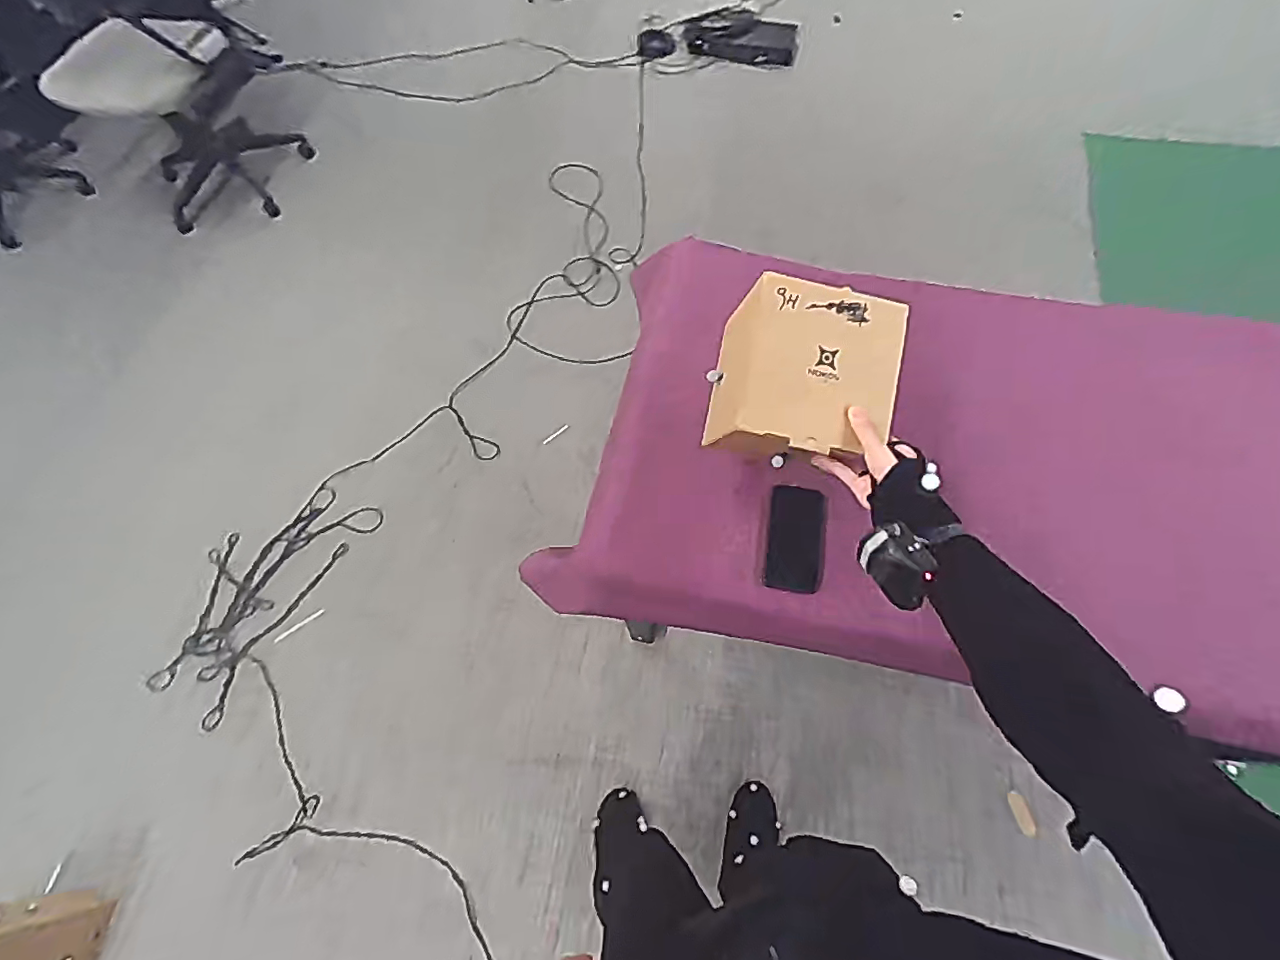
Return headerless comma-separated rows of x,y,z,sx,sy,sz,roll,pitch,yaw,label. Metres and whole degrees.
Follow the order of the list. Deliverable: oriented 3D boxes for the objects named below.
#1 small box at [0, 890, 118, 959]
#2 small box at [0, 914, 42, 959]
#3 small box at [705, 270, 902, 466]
-1.282,0.992,1.141,0.179,0.176,0.168,3,65,6,small box
-1.281,0.930,0.989,0.168,0.176,0.179,-1,65,3,small box
0.184,-0.120,0.658,0.168,0.176,0.179,12,85,-4,small box
